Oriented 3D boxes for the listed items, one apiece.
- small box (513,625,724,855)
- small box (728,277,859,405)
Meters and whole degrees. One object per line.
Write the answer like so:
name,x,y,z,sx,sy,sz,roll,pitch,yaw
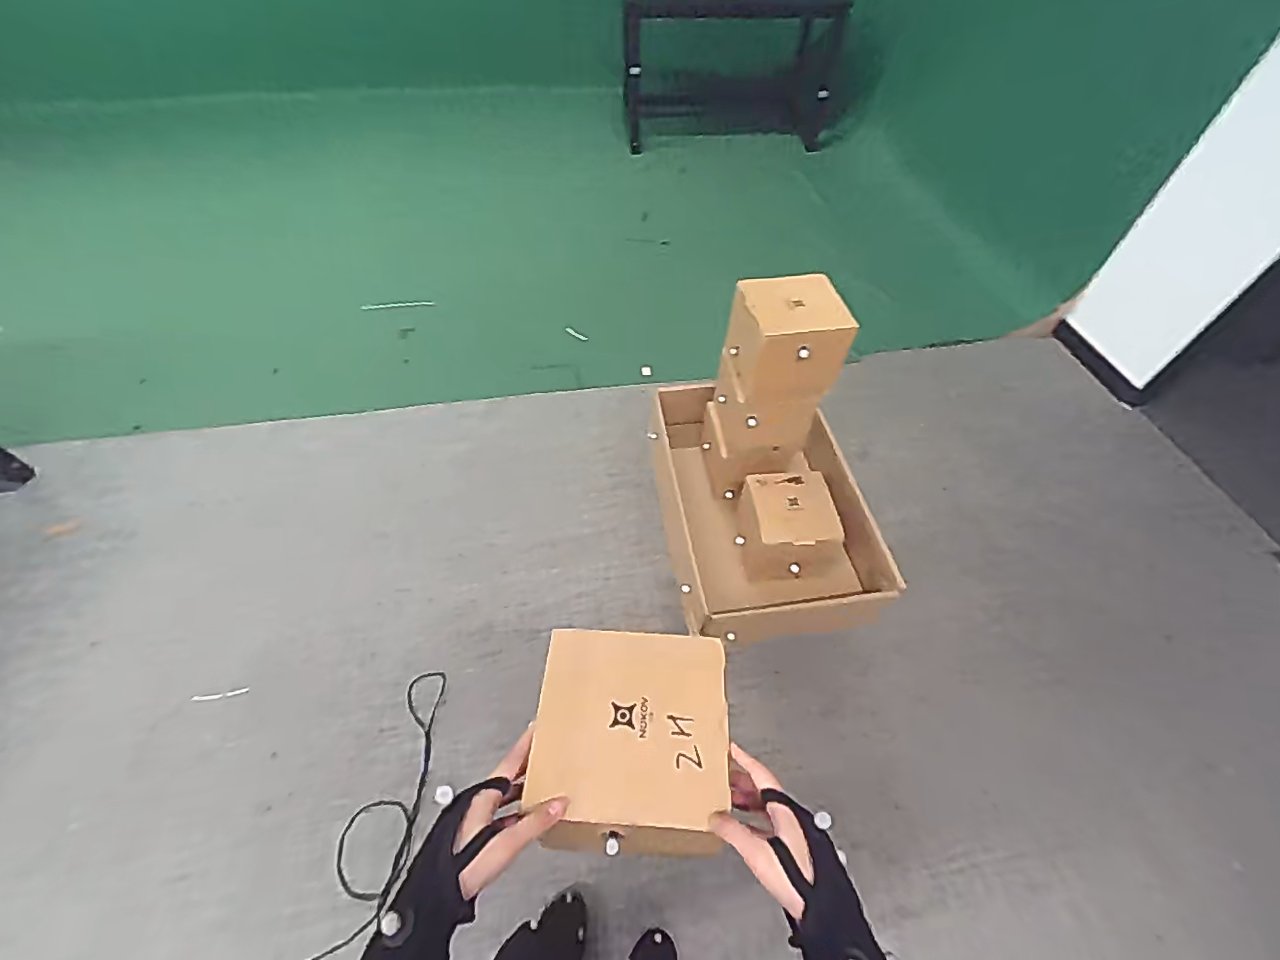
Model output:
small box,-0.013,0.265,0.547,0.179,0.176,0.168,3,48,2
small box,0.283,-0.265,1.041,0.179,0.176,0.168,-7,53,-6
